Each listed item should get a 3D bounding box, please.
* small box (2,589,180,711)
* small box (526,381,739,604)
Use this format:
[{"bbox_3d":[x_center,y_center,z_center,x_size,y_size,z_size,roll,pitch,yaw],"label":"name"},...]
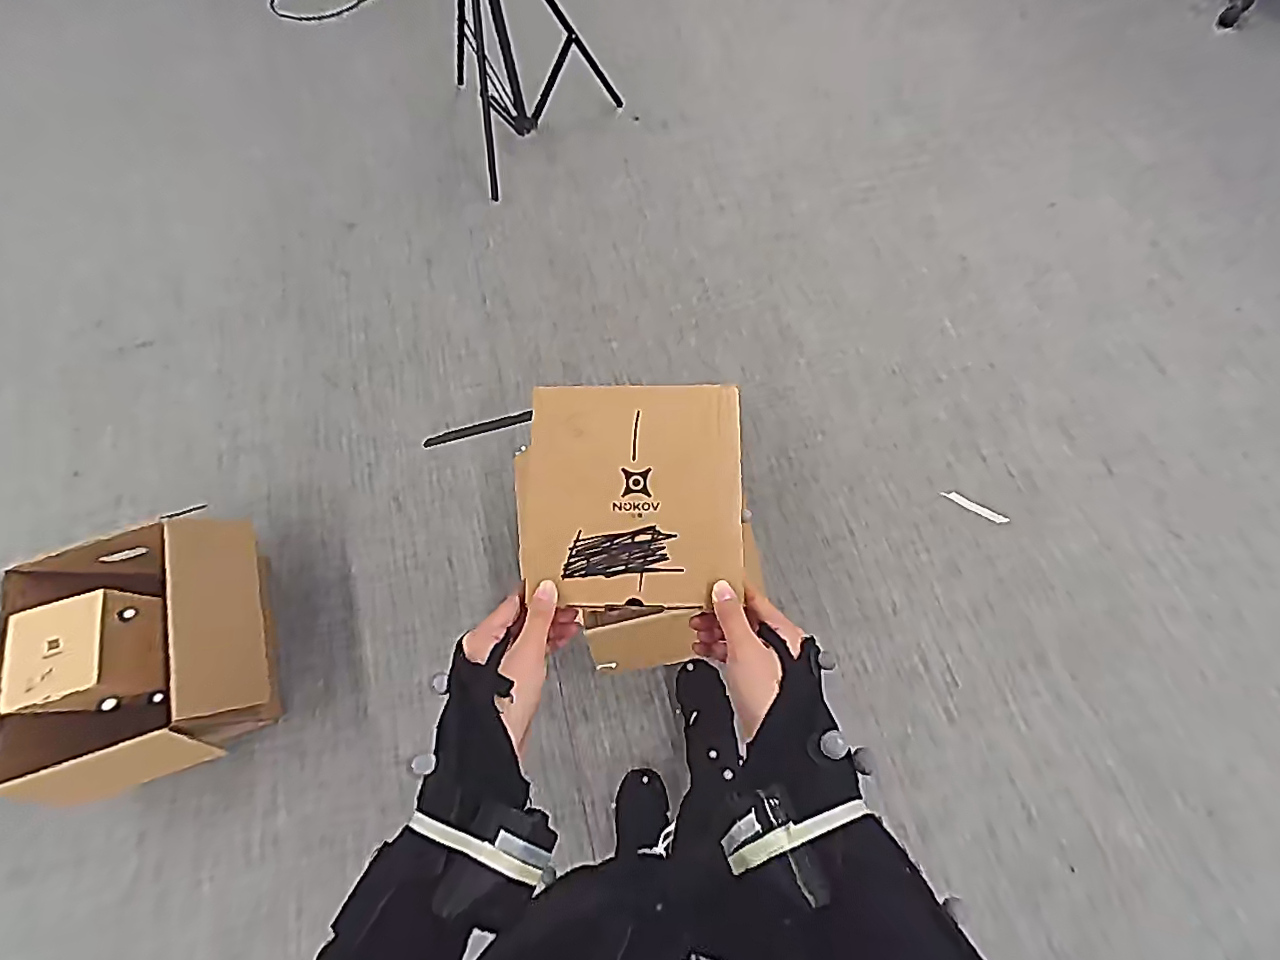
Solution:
[{"bbox_3d":[-1.023,0.326,1.027,0.168,0.176,0.179,-16,69,-3],"label":"small box"},{"bbox_3d":[-0.001,0.019,0.499,0.168,0.176,0.179,0,80,2],"label":"small box"}]
